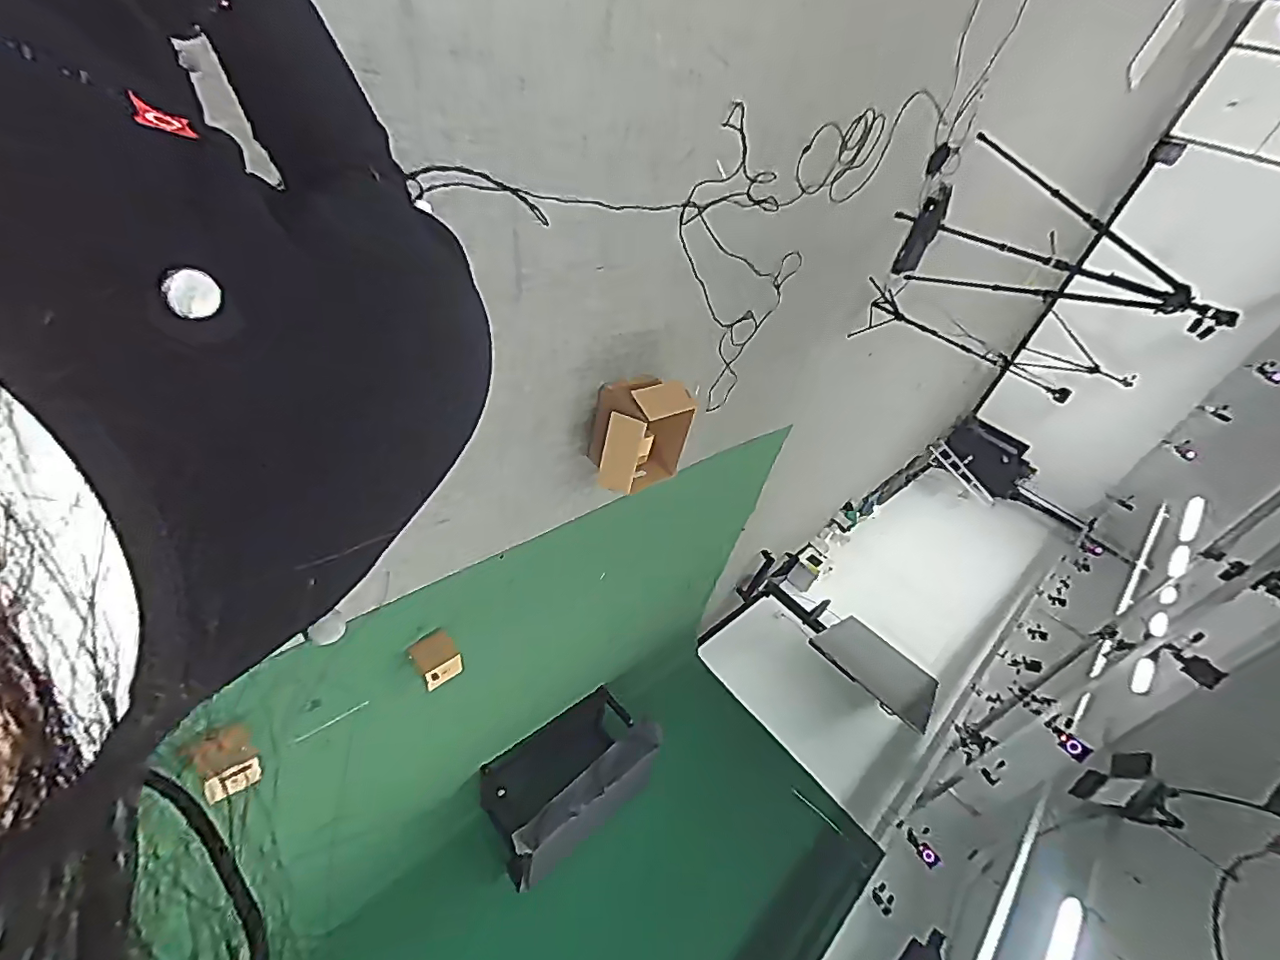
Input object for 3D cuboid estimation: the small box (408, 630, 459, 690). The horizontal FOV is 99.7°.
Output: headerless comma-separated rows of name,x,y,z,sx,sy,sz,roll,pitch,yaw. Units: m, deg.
small box,-0.992,0.859,2.588,0.179,0.176,0.168,-27,145,-36
